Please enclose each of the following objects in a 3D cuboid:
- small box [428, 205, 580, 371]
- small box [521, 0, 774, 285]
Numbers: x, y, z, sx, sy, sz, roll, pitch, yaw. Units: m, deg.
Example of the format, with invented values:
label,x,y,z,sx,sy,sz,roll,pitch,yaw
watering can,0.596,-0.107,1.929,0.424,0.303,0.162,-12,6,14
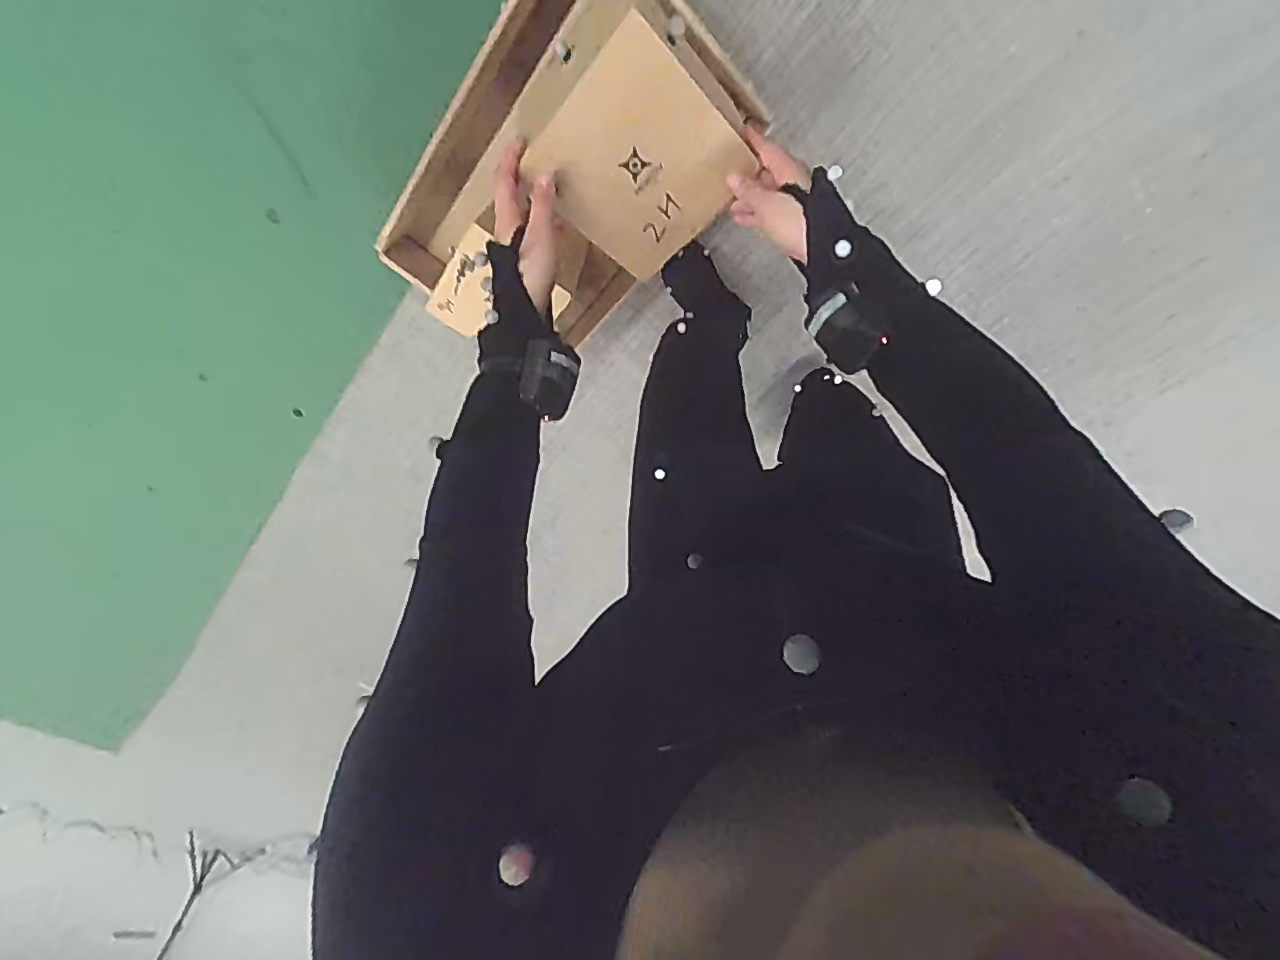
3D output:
label,x,y,z,sx,sy,sz,roll,pitch,yaw
small box,-0.214,-0.322,0.898,0.179,0.176,0.168,31,122,-24
small box,0.002,-0.343,0.538,0.179,0.176,0.168,27,133,-37
